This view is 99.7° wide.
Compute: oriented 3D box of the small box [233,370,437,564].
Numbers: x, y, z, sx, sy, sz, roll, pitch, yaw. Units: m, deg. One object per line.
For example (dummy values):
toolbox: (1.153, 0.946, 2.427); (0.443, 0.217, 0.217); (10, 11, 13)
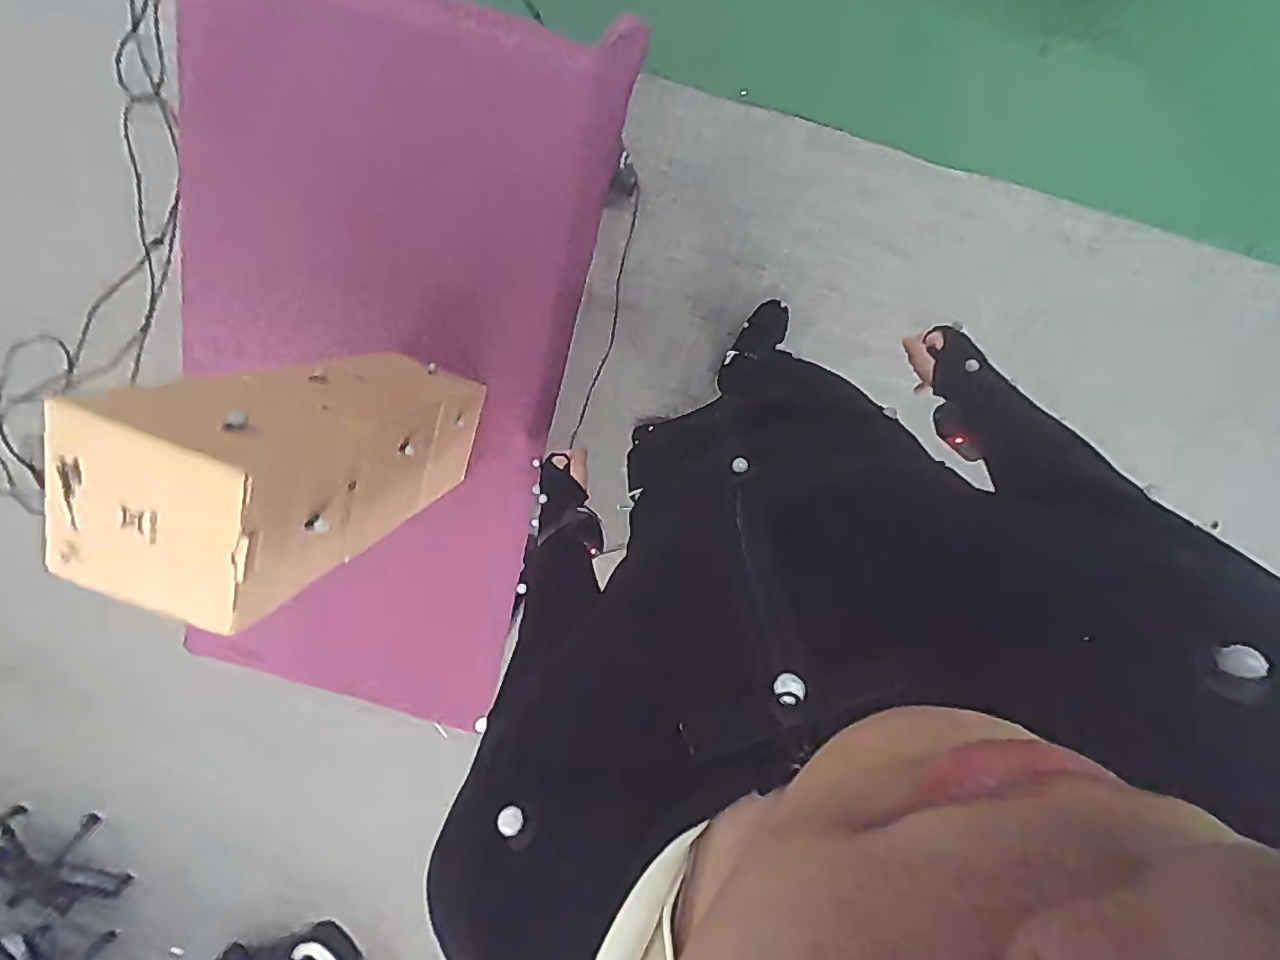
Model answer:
small box: (-0.380, -0.029, 0.682); (0.168, 0.176, 0.179); (21, 108, 0)

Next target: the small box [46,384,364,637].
small box: (-0.404, 0.015, 0.527); (0.179, 0.176, 0.168); (20, 107, 0)
